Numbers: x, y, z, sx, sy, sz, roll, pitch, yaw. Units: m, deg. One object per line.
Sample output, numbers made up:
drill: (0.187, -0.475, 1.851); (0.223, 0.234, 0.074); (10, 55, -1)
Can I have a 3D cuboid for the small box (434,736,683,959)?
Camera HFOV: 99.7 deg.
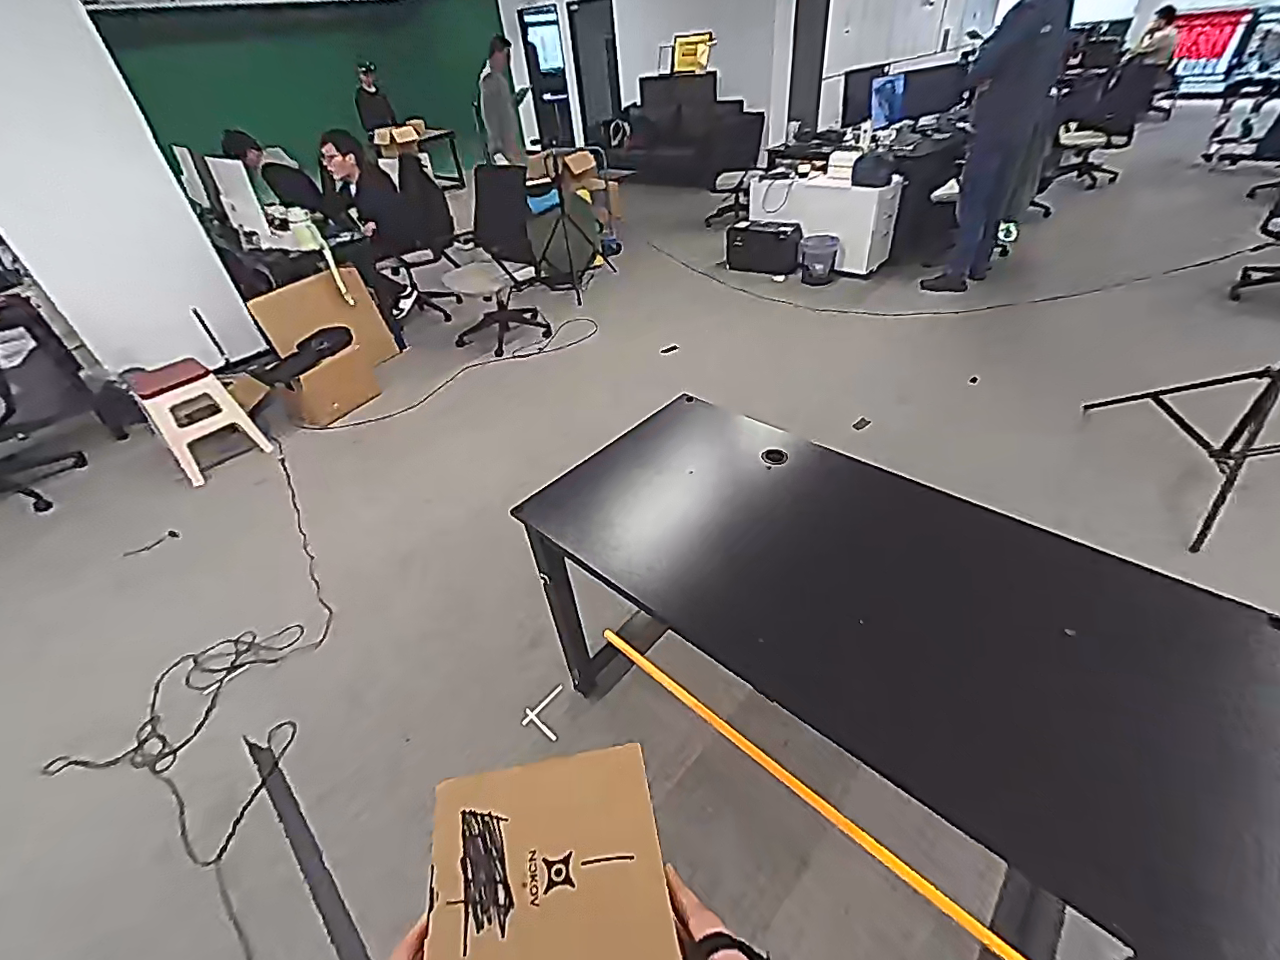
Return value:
small box: (-0.064, 0.357, 0.471); (0.179, 0.176, 0.168); (-8, 41, -7)
